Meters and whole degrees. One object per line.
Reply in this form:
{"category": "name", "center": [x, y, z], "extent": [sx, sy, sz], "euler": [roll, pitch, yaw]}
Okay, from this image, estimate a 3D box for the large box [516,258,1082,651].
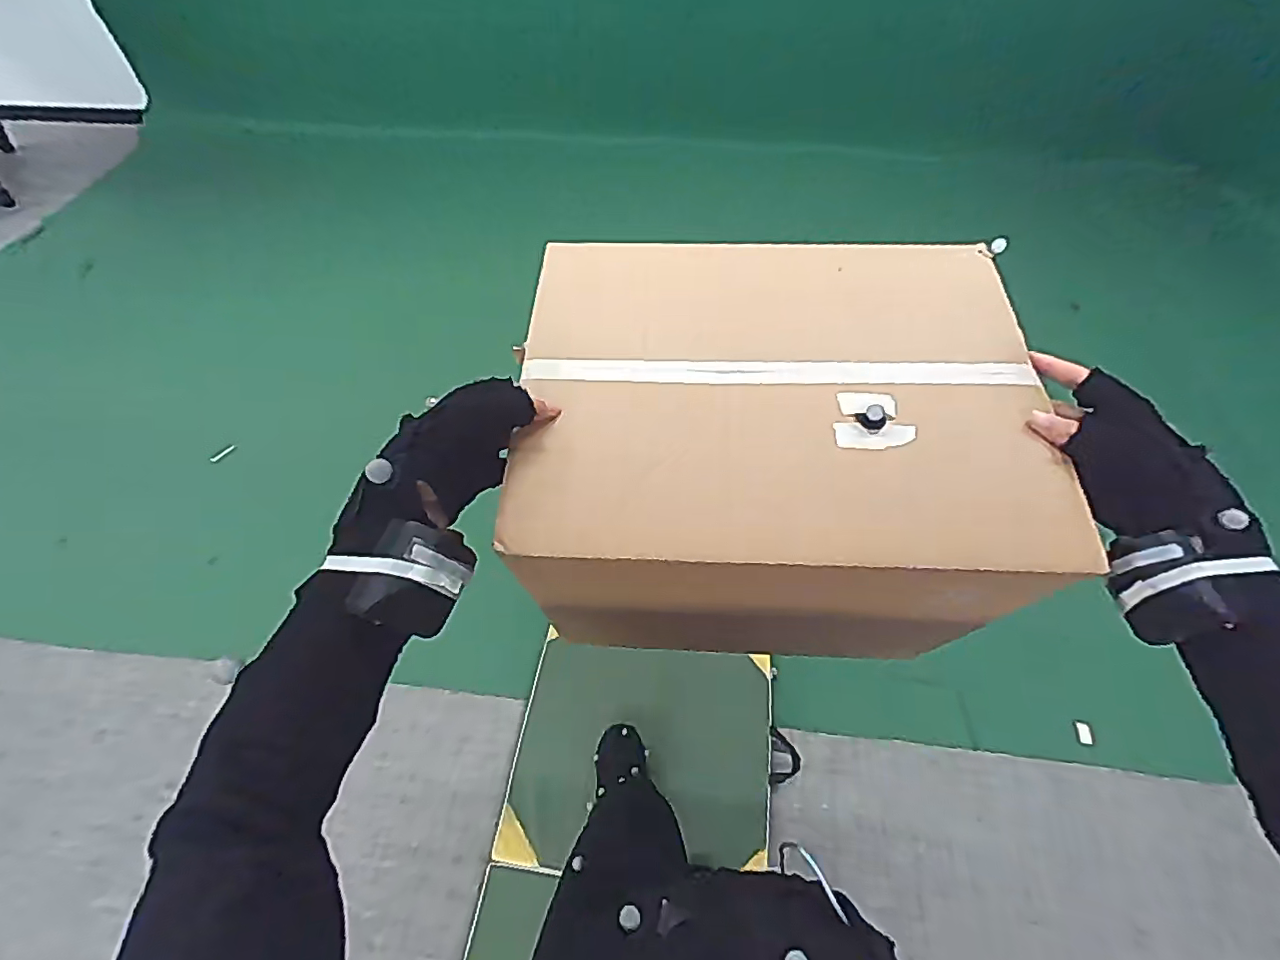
{"category": "large box", "center": [0.113, -0.008, 0.577], "extent": [0.408, 0.320, 0.320], "euler": [1, 62, 2]}
